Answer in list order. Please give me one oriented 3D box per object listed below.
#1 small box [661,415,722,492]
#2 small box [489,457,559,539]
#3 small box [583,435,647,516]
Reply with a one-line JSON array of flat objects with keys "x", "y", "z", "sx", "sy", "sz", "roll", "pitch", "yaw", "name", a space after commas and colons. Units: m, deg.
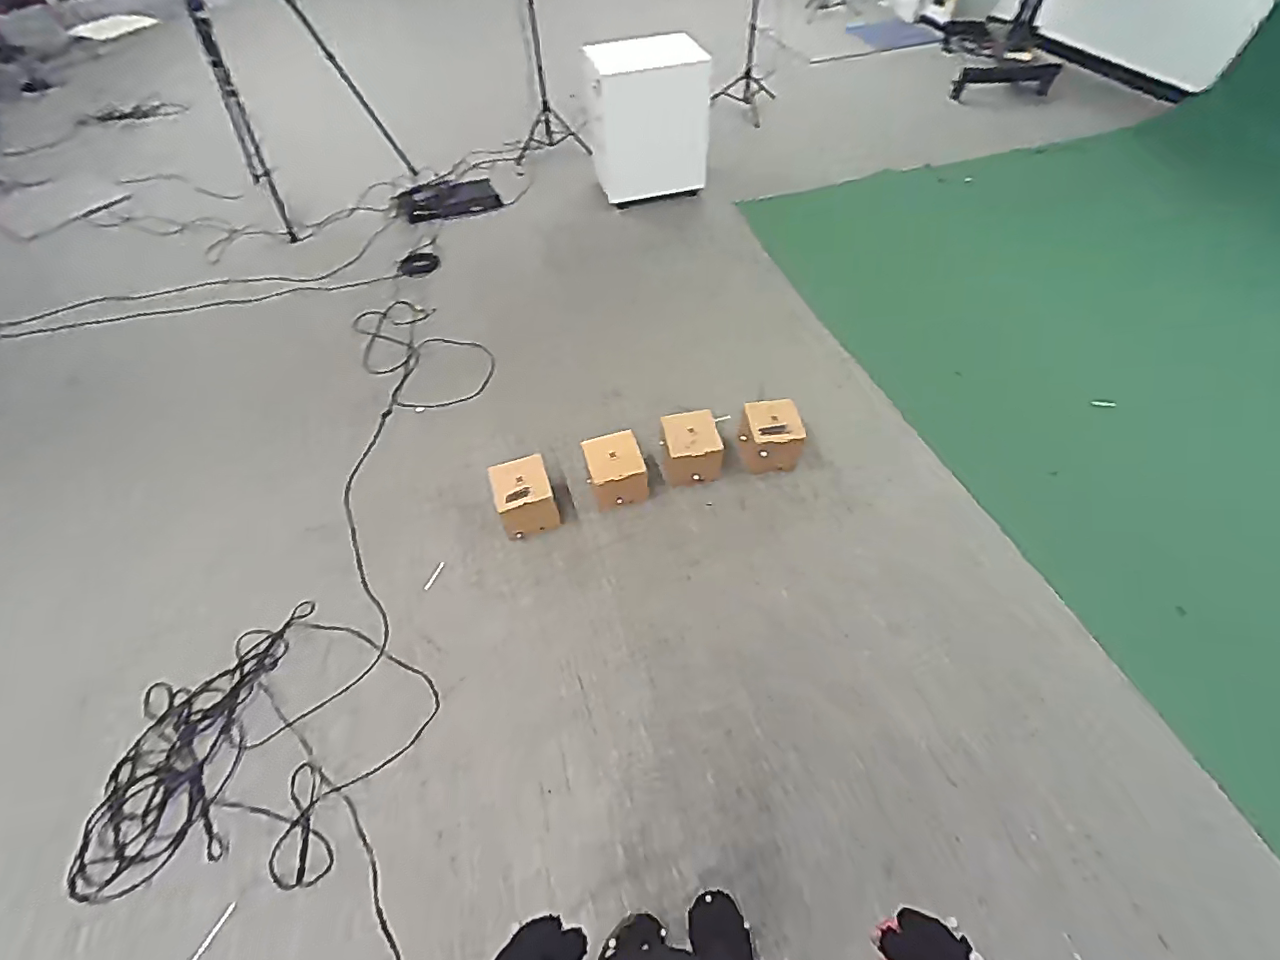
[{"x": 0.162, "y": -0.086, "z": 1.769, "sx": 0.168, "sy": 0.176, "sz": 0.179, "roll": -9, "pitch": 54, "yaw": -4, "name": "small box"}, {"x": -0.356, "y": 0.064, "z": 1.675, "sx": 0.168, "sy": 0.176, "sz": 0.179, "roll": -16, "pitch": 54, "yaw": -10, "name": "small box"}, {"x": -0.080, "y": -0.013, "z": 1.725, "sx": 0.168, "sy": 0.176, "sz": 0.179, "roll": -15, "pitch": 55, "yaw": -9, "name": "small box"}]
